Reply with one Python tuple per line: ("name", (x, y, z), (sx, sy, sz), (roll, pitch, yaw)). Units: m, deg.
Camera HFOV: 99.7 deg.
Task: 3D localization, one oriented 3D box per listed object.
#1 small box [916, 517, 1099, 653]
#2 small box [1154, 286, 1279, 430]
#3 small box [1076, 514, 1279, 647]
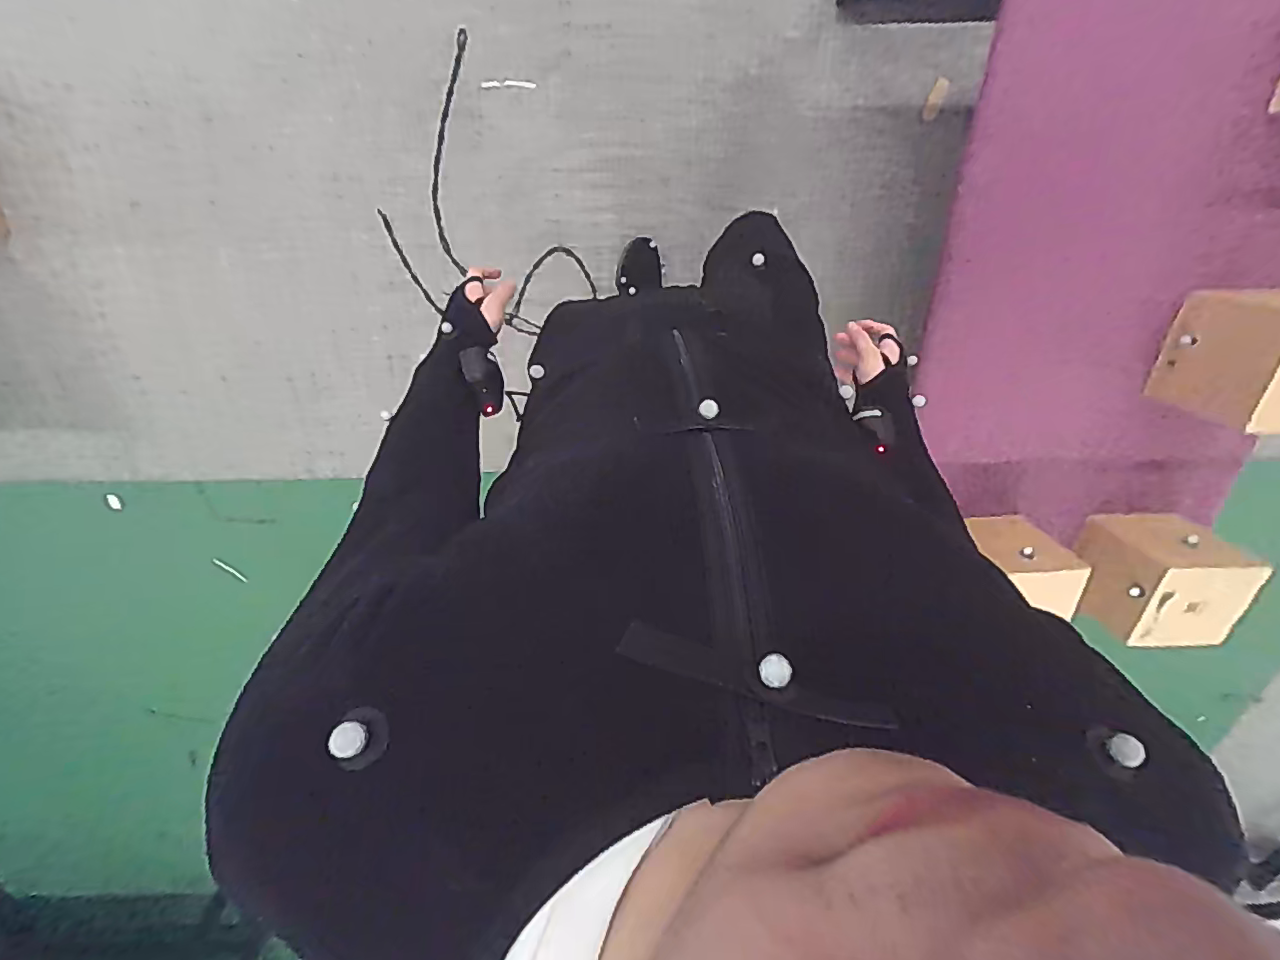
("small box", (0.613, 0.174, 0.928), (0.179, 0.176, 0.168), (-2, 116, -1))
("small box", (0.910, -0.178, 0.763), (0.179, 0.176, 0.168), (-1, 117, -1))
("small box", (0.909, 0.169, 0.943), (0.179, 0.176, 0.168), (0, 117, -2))
